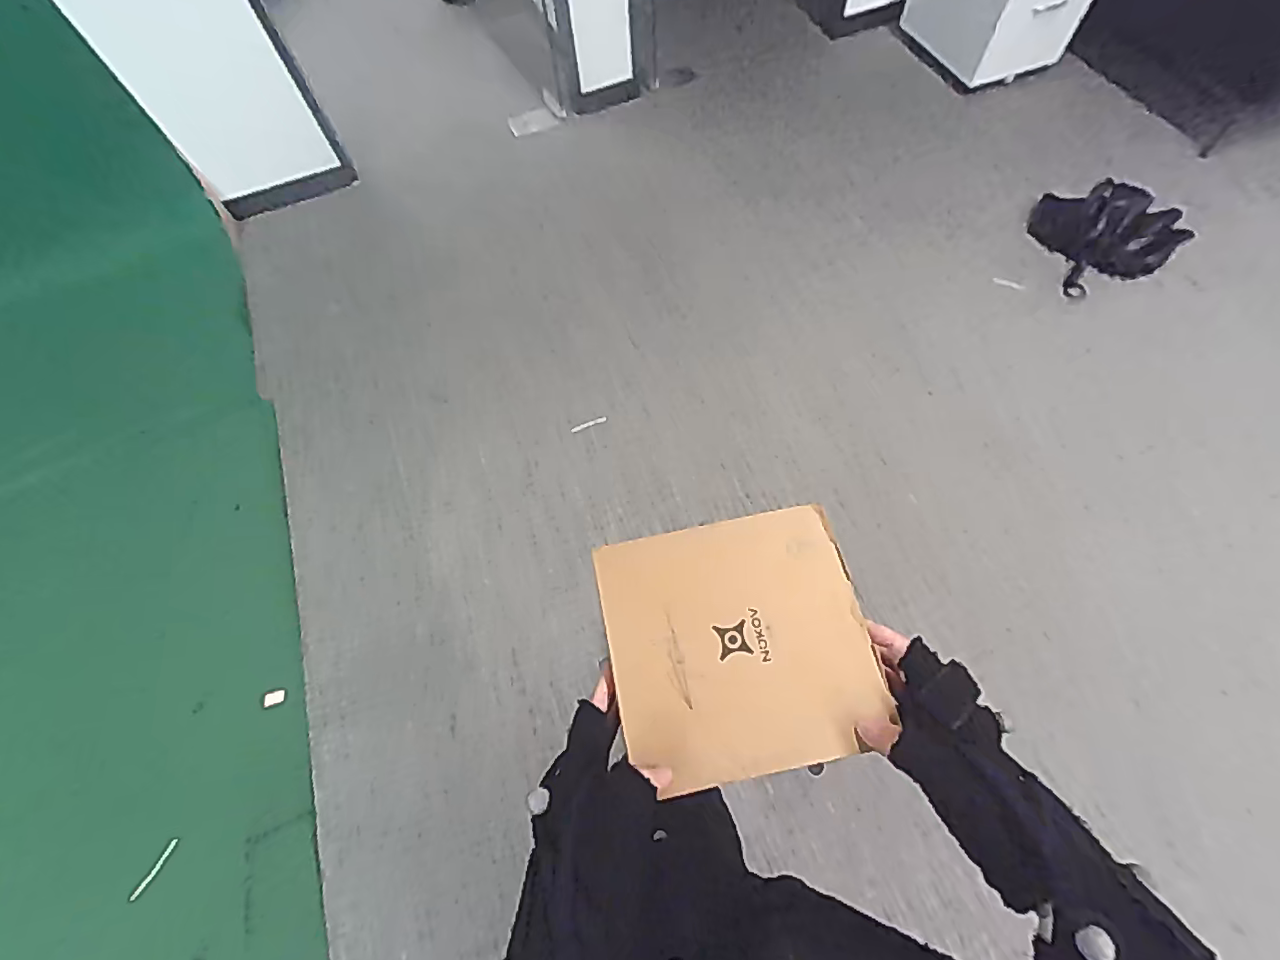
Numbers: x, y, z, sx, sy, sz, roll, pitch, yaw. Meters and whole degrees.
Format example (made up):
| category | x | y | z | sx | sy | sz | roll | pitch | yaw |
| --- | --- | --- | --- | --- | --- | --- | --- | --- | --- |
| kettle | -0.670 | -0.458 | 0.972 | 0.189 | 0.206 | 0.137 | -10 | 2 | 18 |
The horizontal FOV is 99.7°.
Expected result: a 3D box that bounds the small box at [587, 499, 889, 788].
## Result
| category | x | y | z | sx | sy | sz | roll | pitch | yaw |
| --- | --- | --- | --- | --- | --- | --- | --- | --- | --- |
| small box | 0.064 | 0.134 | 0.445 | 0.179 | 0.176 | 0.168 | -13 | 66 | -2 |
